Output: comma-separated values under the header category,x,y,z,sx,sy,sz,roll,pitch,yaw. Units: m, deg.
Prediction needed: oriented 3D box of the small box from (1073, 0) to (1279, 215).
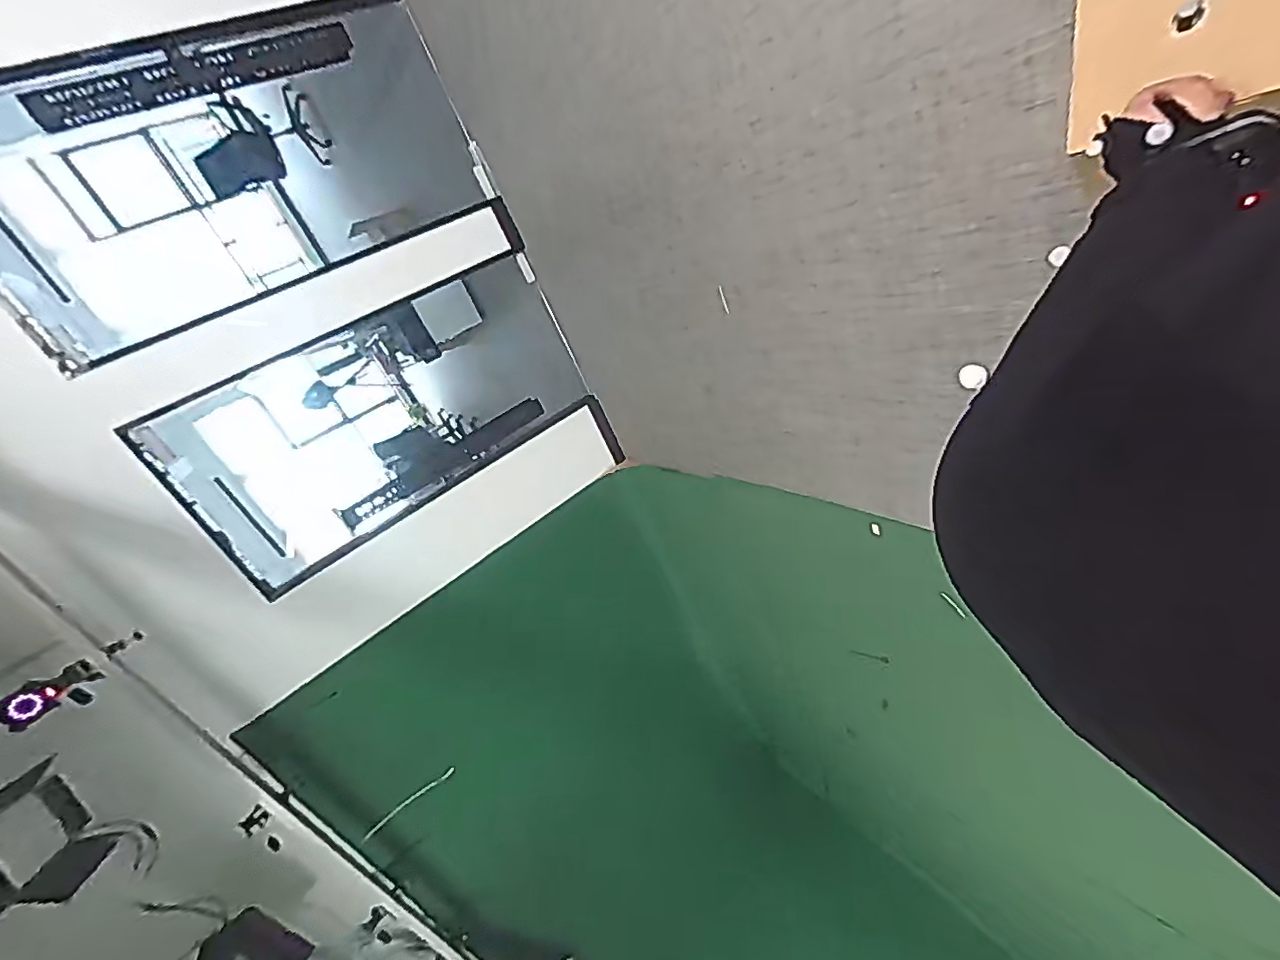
category,x,y,z,sx,sy,sz,roll,pitch,yaw
small box,0.555,-0.400,0.539,0.168,0.179,0.176,7,95,48
